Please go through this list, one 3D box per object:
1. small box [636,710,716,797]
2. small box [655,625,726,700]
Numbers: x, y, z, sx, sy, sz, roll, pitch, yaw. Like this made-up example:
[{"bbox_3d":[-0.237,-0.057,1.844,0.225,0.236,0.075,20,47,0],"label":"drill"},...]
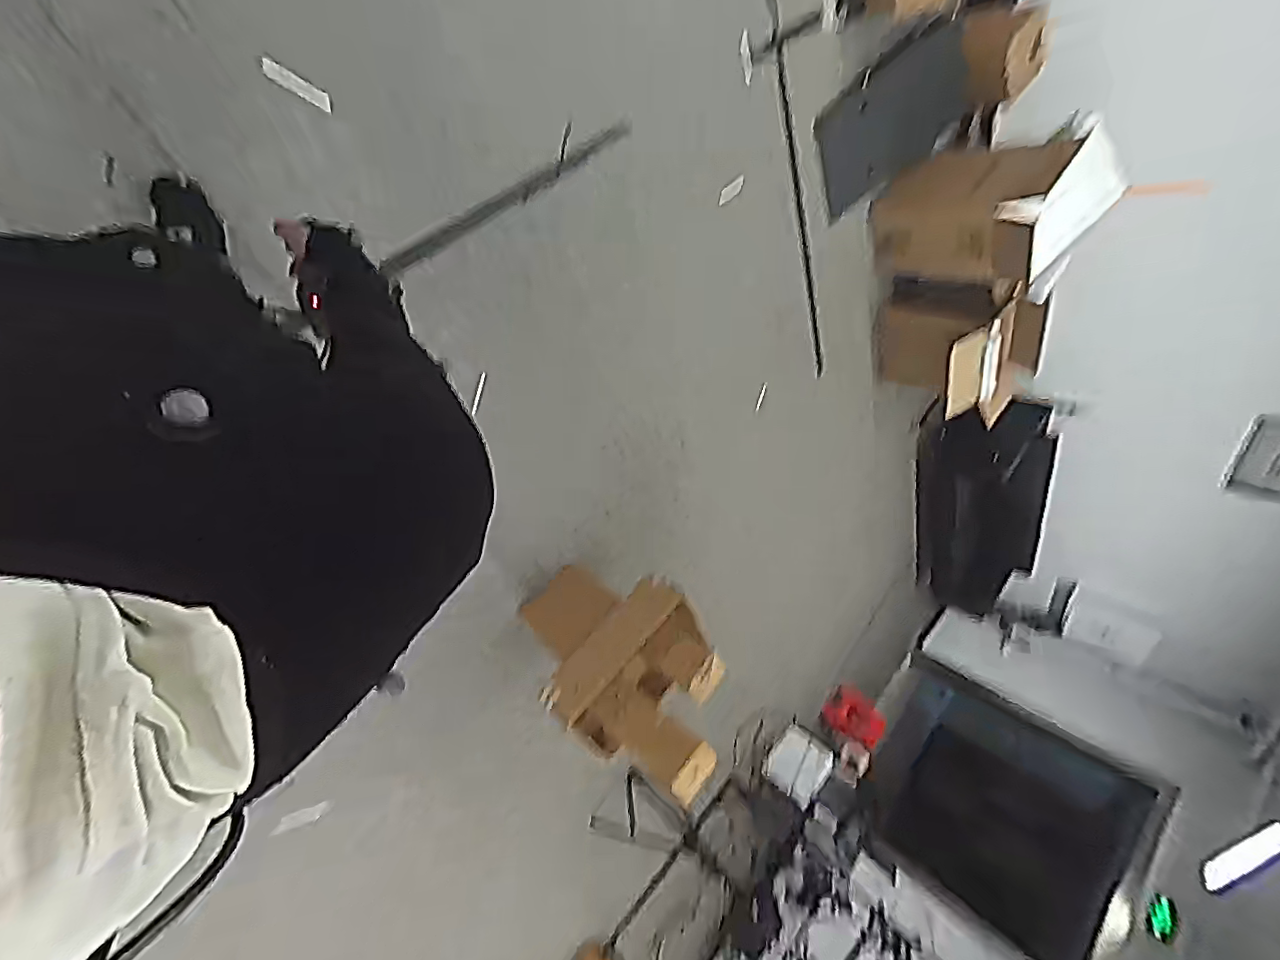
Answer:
[{"bbox_3d":[0.118,0.889,1.771,0.168,0.176,0.179,-46,134,-20],"label":"small box"},{"bbox_3d":[0.181,0.657,1.966,0.168,0.176,0.179,-47,137,-17],"label":"small box"}]
